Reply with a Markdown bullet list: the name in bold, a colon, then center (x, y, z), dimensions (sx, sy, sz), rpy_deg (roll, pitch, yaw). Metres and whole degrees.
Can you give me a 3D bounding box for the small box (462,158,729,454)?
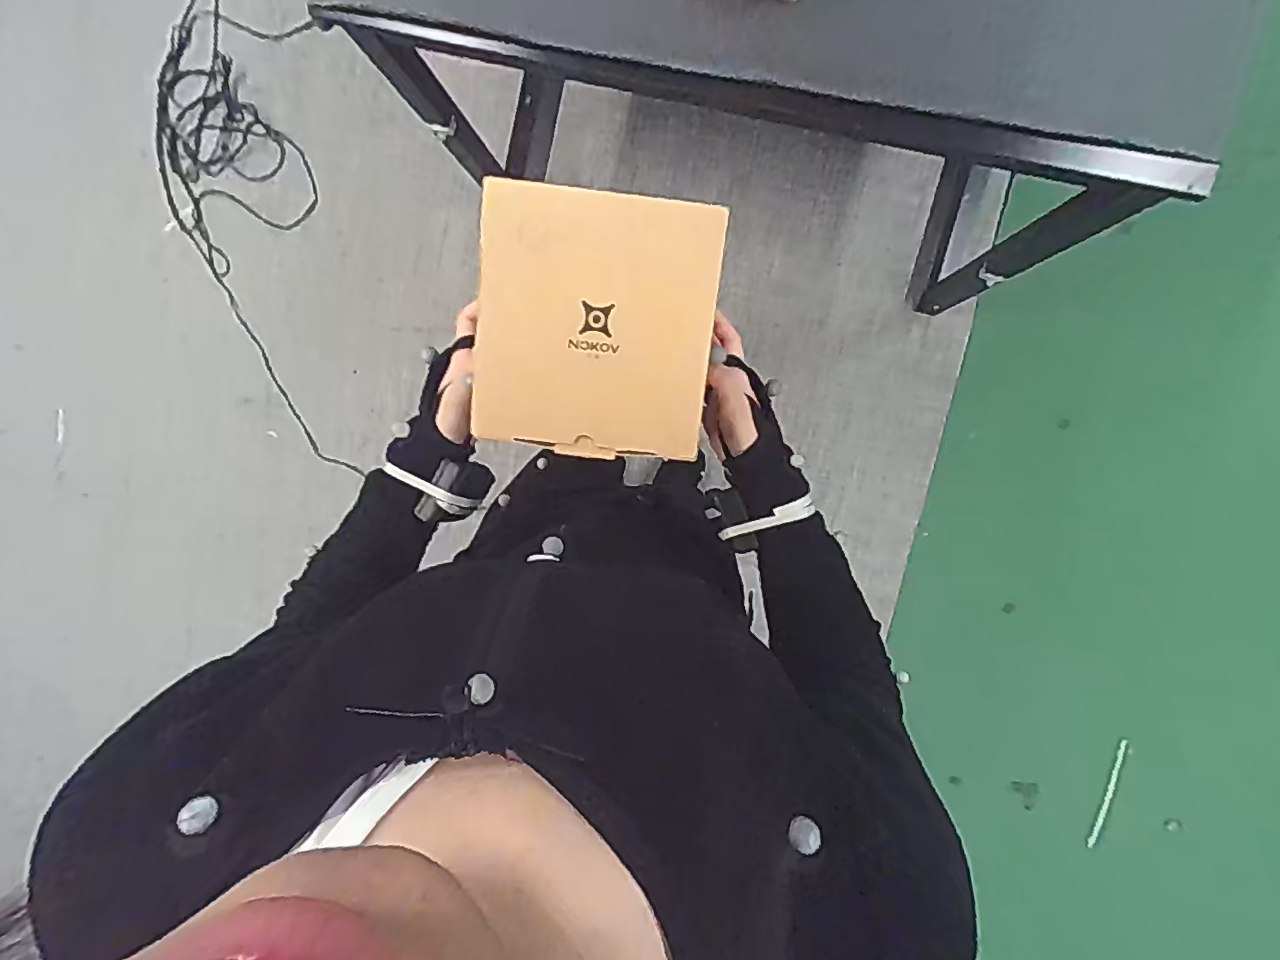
- **small box**: center (-0.035, -0.125, 0.438), dimensions (0.168, 0.176, 0.179), rpy_deg (6, 101, -3)
